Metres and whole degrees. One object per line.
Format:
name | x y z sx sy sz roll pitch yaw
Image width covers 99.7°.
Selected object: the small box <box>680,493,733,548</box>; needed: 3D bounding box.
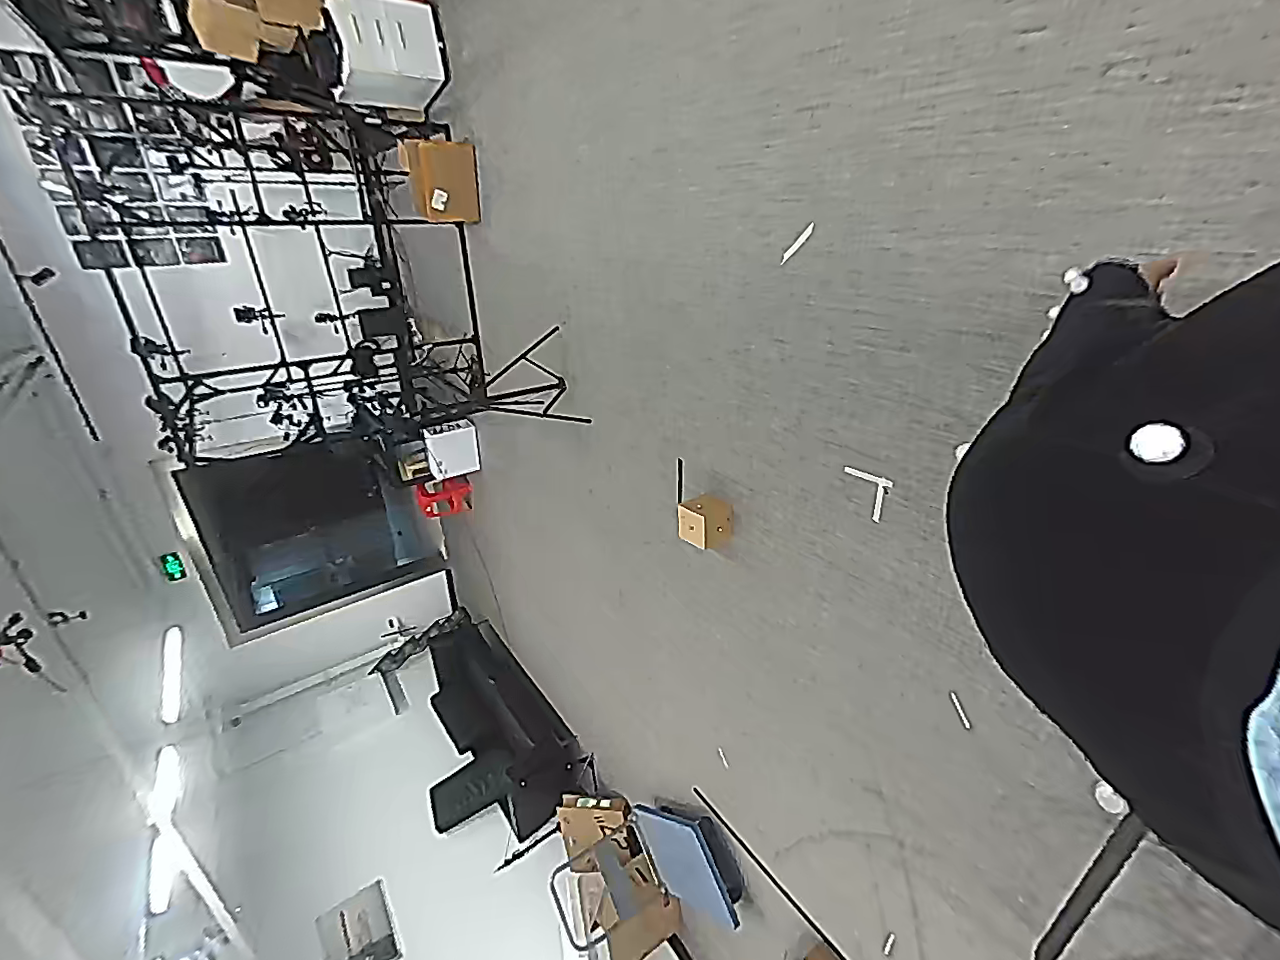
small box | 0.295 0.173 2.389 0.179 0.176 0.168 26 127 50
